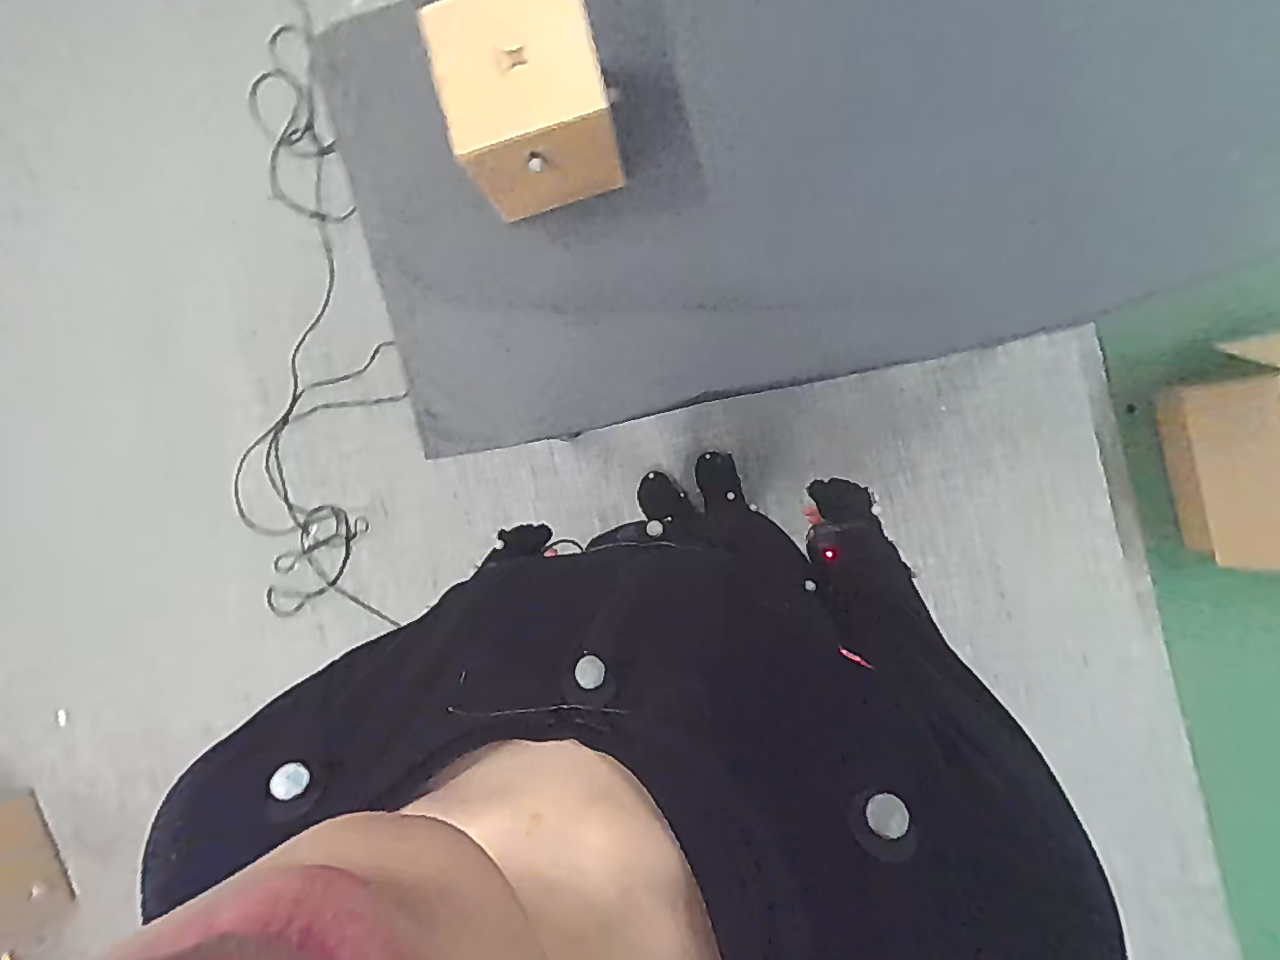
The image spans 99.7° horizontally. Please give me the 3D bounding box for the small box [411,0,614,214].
[{"bbox_3d":[-0.136,-0.455,0.652,0.179,0.176,0.168,-15,92,7],"label":"small box"}]
